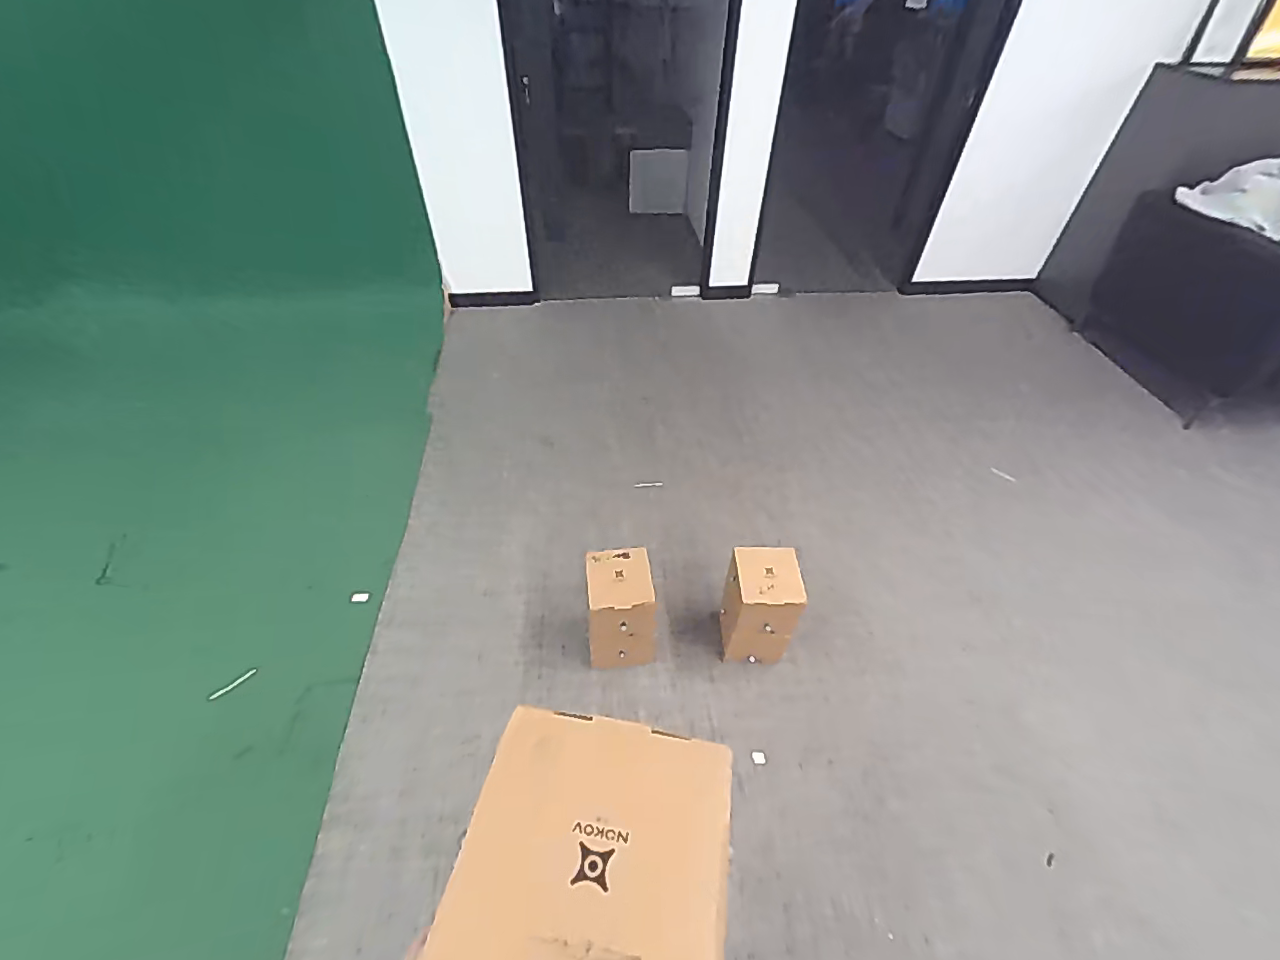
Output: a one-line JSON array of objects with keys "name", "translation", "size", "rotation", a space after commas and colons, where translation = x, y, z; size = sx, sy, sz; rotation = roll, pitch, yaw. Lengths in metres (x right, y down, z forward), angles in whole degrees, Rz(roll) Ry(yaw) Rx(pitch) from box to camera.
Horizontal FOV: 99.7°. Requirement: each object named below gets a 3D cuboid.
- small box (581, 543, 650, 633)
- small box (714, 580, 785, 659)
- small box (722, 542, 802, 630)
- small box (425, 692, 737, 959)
[{"name": "small box", "translation": [-0.066, 0.292, 1.435], "size": [0.168, 0.176, 0.179], "rotation": [-5, 47, -7]}, {"name": "small box", "translation": [0.311, 0.401, 1.576], "size": [0.168, 0.176, 0.179], "rotation": [2, 48, -1]}, {"name": "small box", "translation": [0.319, 0.286, 1.459], "size": [0.168, 0.176, 0.179], "rotation": [0, 47, -2]}, {"name": "small box", "translation": [-0.030, 0.289, 0.390], "size": [0.168, 0.176, 0.179], "rotation": [9, 41, 5]}]
